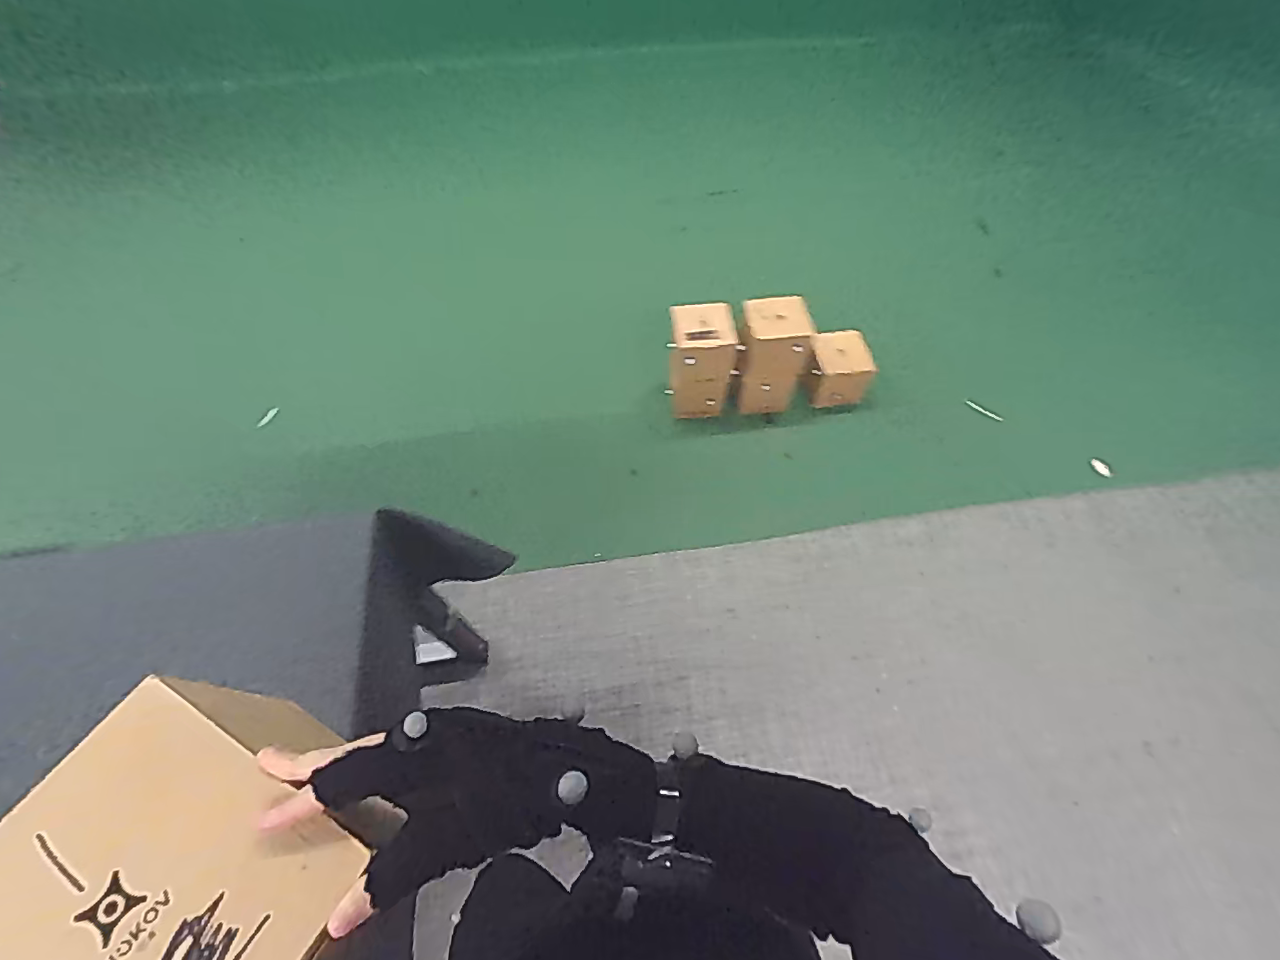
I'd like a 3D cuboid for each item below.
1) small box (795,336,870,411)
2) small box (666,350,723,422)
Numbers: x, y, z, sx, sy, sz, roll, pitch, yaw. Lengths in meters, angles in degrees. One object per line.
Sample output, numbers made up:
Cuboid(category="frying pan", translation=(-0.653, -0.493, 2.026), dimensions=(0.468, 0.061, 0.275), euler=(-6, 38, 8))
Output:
Cuboid(category="small box", translation=(0.636, -0.356, 1.813), dimensions=(0.168, 0.176, 0.179), euler=(-8, 59, -4))
Cuboid(category="small box", translation=(0.174, -0.304, 1.788), dimensions=(0.168, 0.176, 0.179), euler=(-4, 59, -2))
